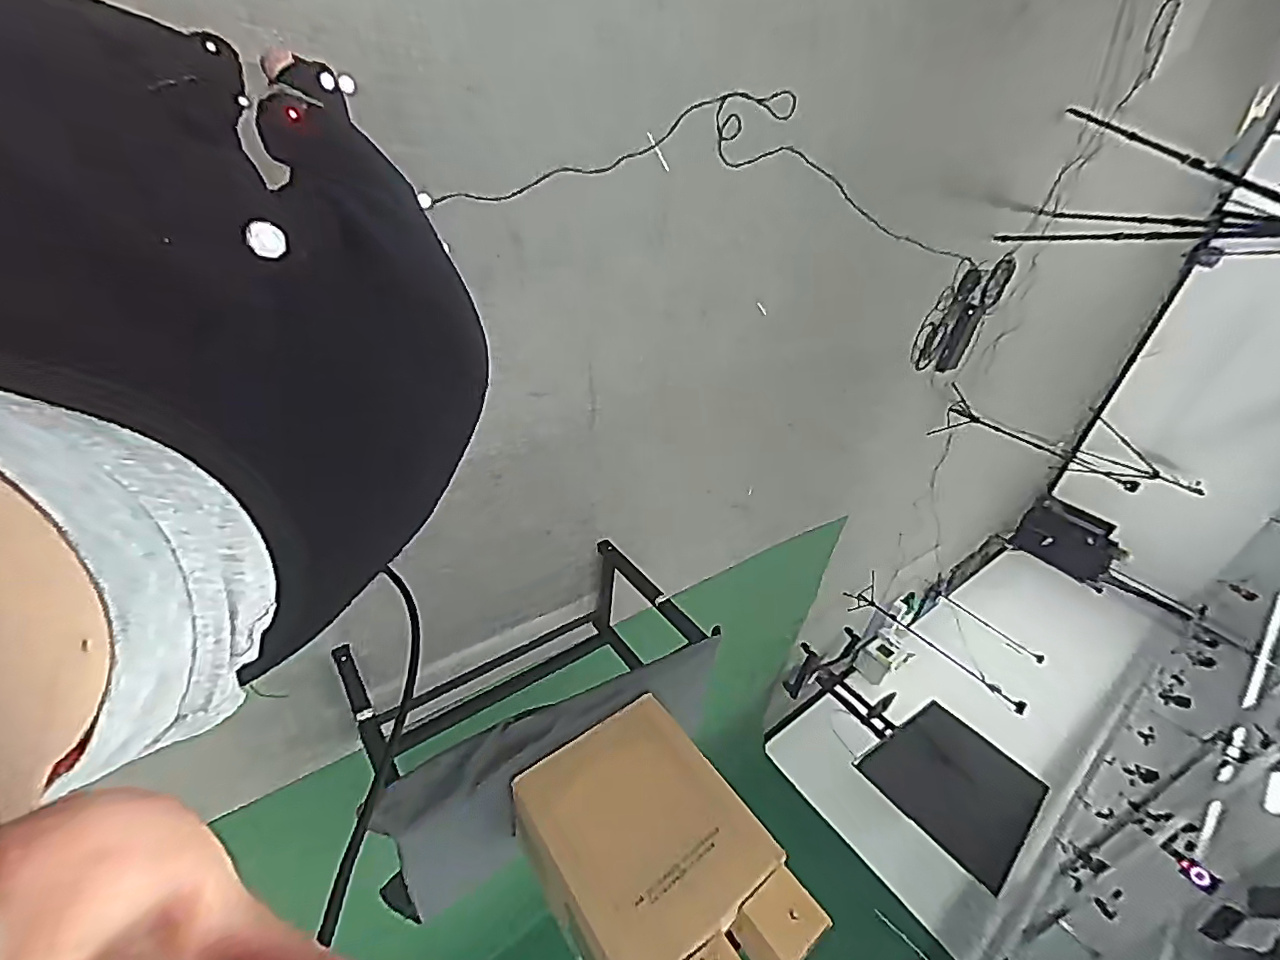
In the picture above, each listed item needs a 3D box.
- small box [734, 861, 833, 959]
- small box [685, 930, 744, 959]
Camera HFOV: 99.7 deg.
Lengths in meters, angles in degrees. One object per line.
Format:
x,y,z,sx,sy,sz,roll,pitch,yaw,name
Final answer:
0.382,1.185,1.458,0.179,0.176,0.168,-22,132,-35,small box
0.179,1.261,1.315,0.168,0.176,0.179,5,114,-46,small box
